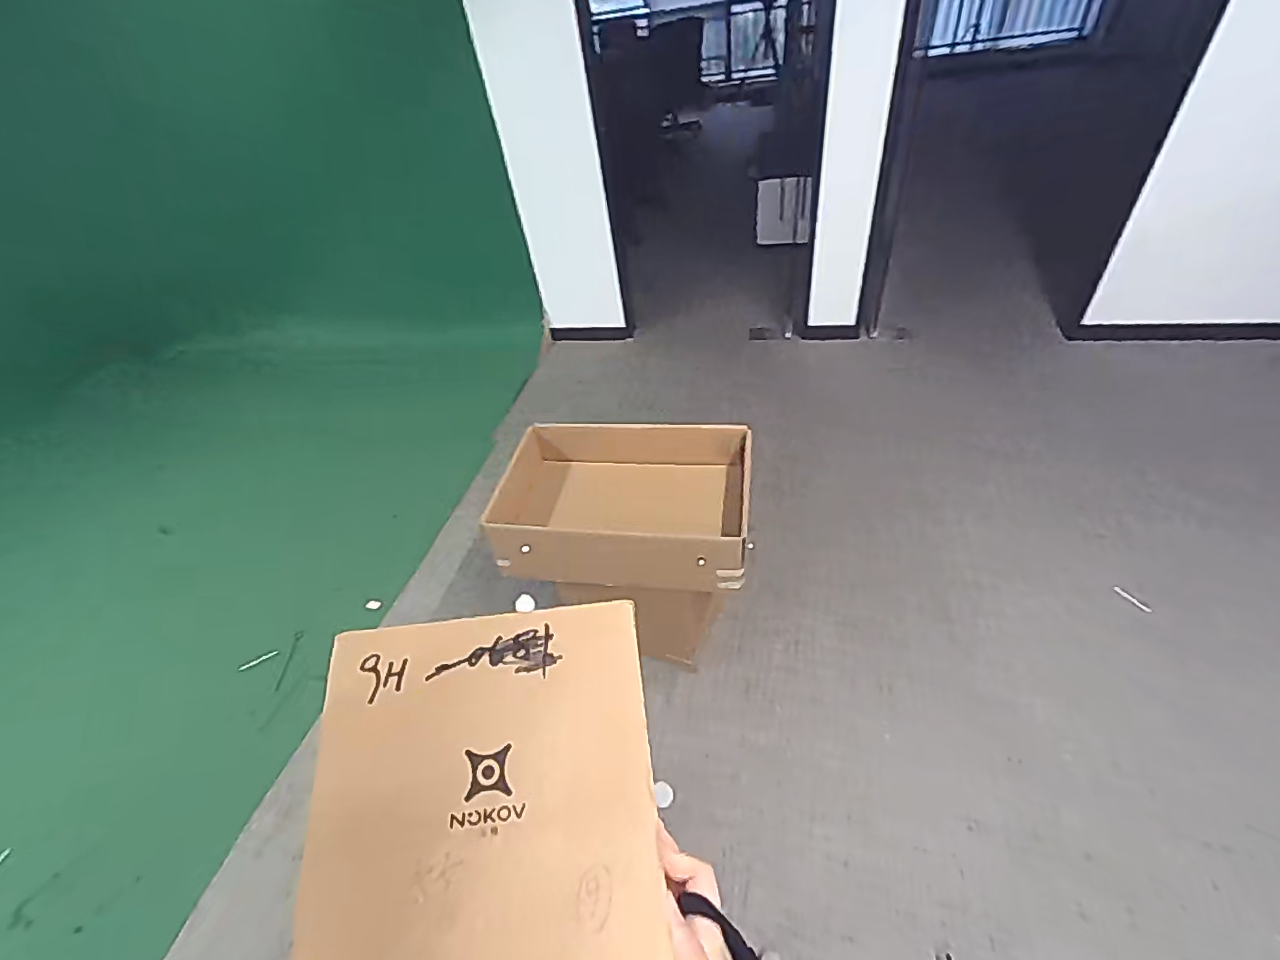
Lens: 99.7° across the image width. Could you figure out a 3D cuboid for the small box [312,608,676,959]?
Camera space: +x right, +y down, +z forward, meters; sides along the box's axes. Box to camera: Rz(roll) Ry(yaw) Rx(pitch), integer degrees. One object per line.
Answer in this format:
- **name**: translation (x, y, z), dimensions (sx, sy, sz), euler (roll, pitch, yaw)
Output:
- **small box**: translation (-0.073, 0.191, 0.342), dimensions (0.168, 0.176, 0.179), euler (-4, 64, -5)
